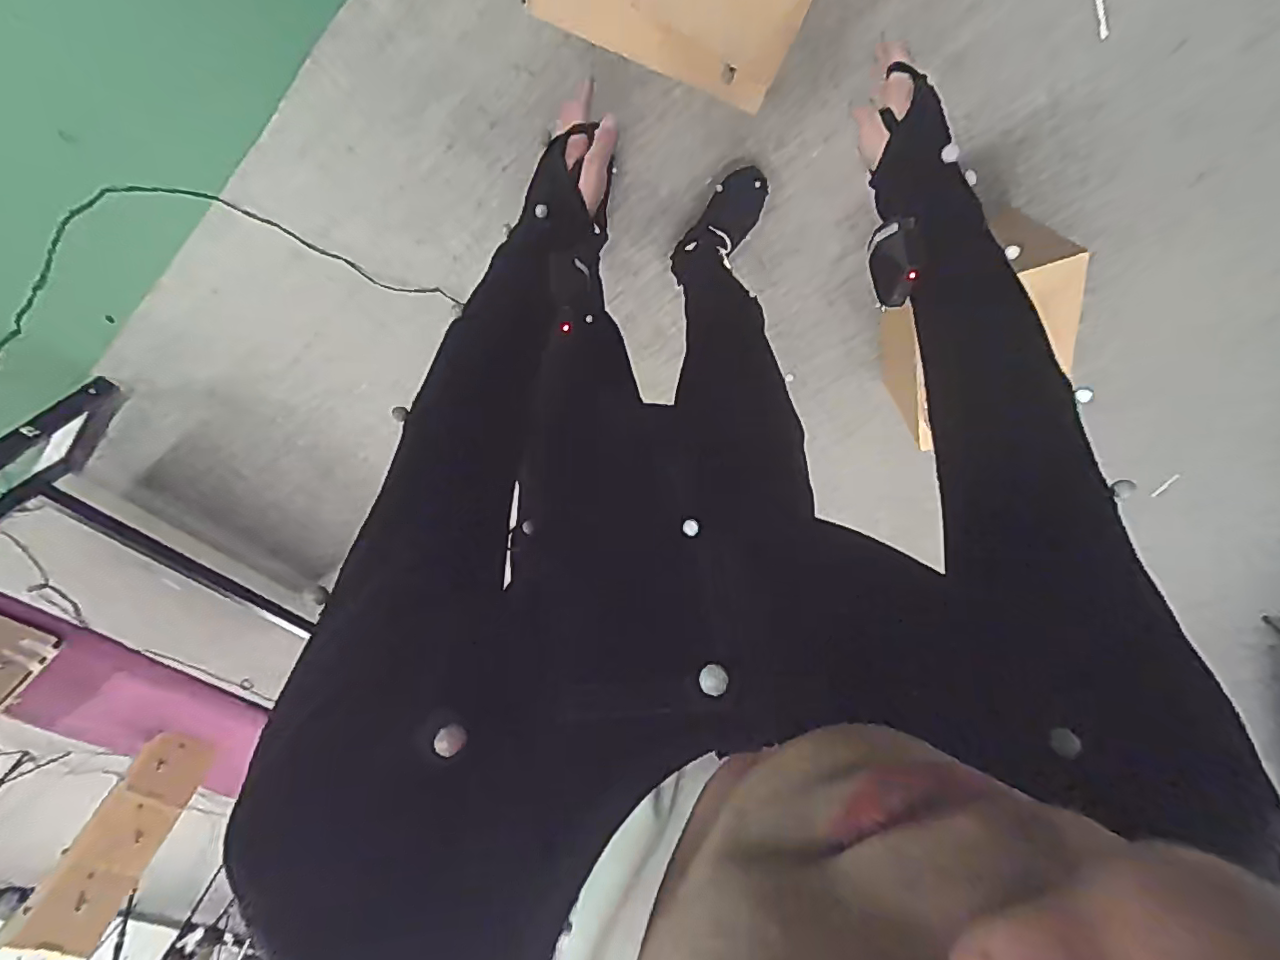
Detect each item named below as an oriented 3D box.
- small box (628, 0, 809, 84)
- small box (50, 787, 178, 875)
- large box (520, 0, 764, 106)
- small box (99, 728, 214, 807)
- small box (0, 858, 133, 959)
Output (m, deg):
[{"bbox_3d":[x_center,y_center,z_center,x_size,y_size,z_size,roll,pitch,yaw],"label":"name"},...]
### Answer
[{"bbox_3d":[0.101,-0.578,0.593,0.179,0.176,0.168,21,129,-13],"label":"small box"},{"bbox_3d":[-1.425,0.964,1.477,0.179,0.176,0.168,-30,122,26],"label":"small box"},{"bbox_3d":[0.060,-0.876,0.883,0.408,0.320,0.320,17,128,-10],"label":"large box"},{"bbox_3d":[-1.420,0.860,1.601,0.179,0.176,0.168,-29,122,26],"label":"small box"},{"bbox_3d":[-1.438,1.072,1.354,0.179,0.176,0.168,-31,121,26],"label":"small box"}]
